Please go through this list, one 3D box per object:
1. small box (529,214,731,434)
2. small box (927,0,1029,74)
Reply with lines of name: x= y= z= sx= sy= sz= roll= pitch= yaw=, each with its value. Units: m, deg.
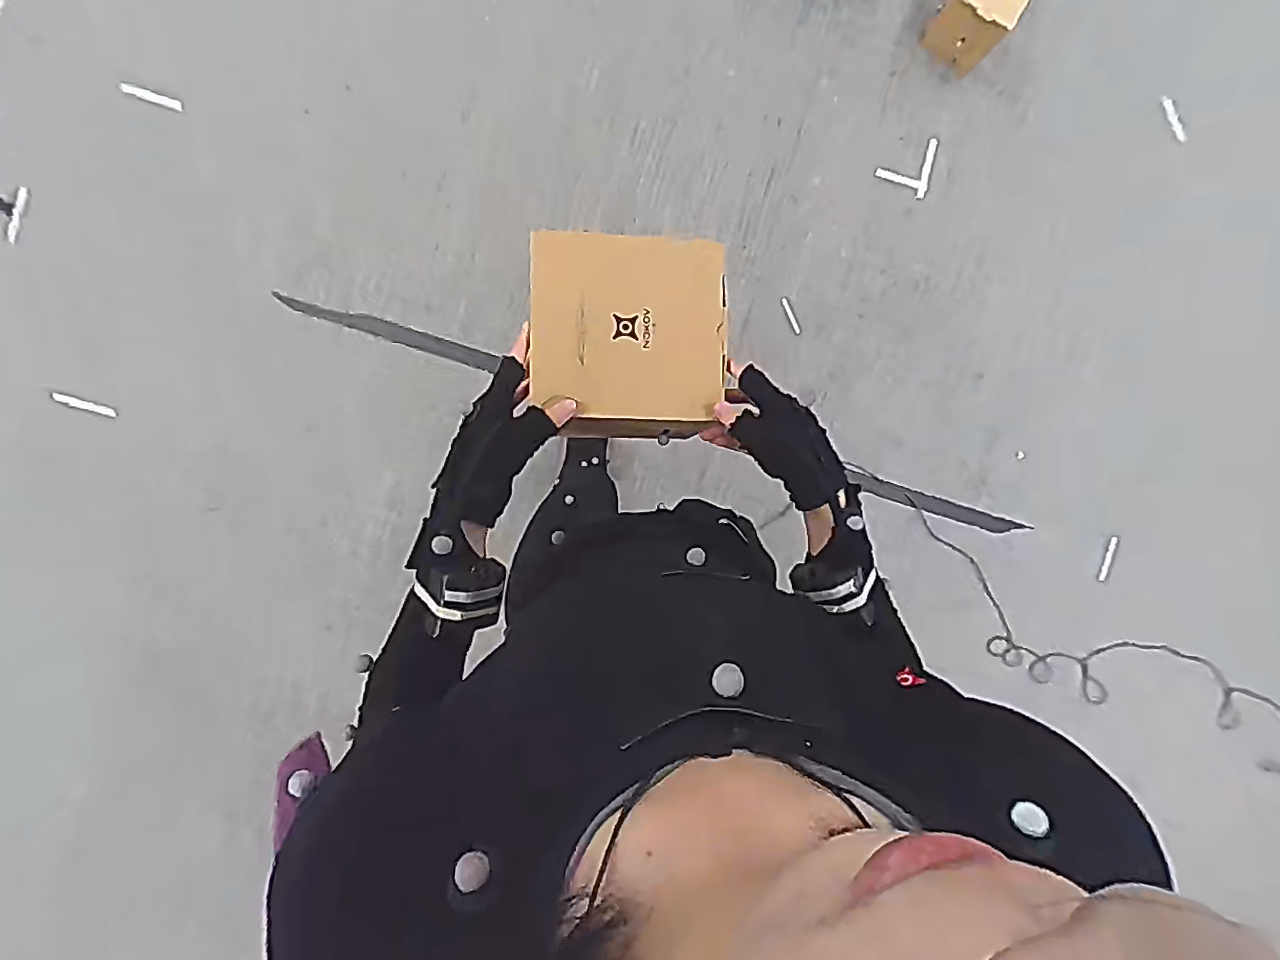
small box: x=-0.016 y=-0.140 z=0.543 sx=0.179 sy=0.176 sz=0.168 roll=0 pitch=87 yaw=-6
small box: x=0.917 y=-1.264 z=1.463 sx=0.168 sy=0.176 sz=0.179 roll=30 pitch=90 yaw=-6
